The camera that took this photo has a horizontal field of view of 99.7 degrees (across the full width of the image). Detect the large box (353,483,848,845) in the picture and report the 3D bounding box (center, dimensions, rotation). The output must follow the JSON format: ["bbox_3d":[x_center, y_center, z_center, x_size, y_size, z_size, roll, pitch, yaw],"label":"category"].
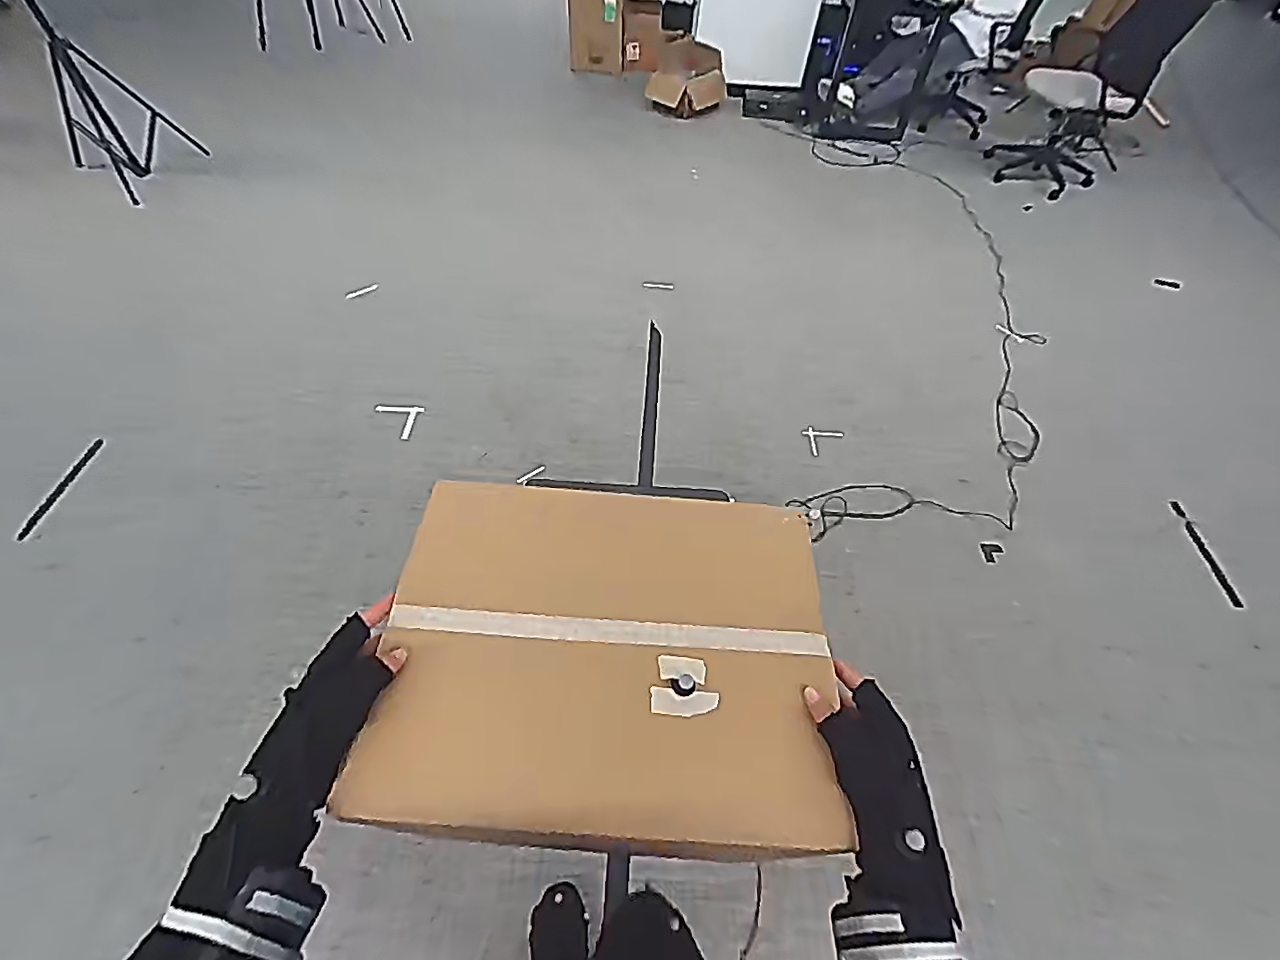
[{"bbox_3d":[-0.034,0.227,0.633,0.408,0.320,0.320,5,54,-2],"label":"large box"}]
